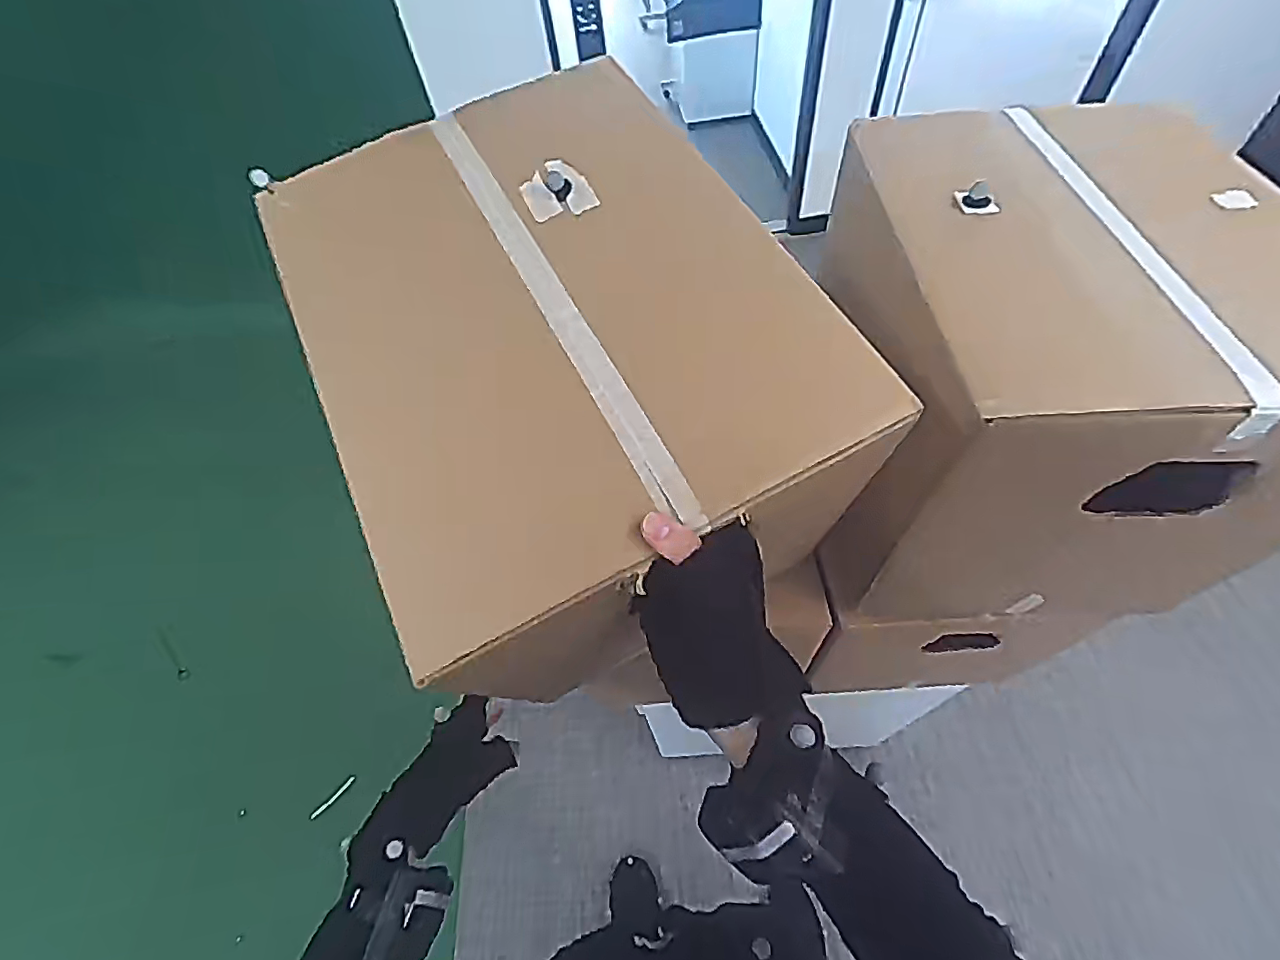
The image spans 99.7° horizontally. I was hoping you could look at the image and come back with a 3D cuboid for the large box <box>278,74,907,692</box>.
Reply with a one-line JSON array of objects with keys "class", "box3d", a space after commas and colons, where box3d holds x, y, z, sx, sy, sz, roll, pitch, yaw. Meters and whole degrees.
[{"class": "large box", "box3d": [-0.052, -0.069, 0.508, 0.320, 0.320, 0.408, -27, 65, -7]}]
